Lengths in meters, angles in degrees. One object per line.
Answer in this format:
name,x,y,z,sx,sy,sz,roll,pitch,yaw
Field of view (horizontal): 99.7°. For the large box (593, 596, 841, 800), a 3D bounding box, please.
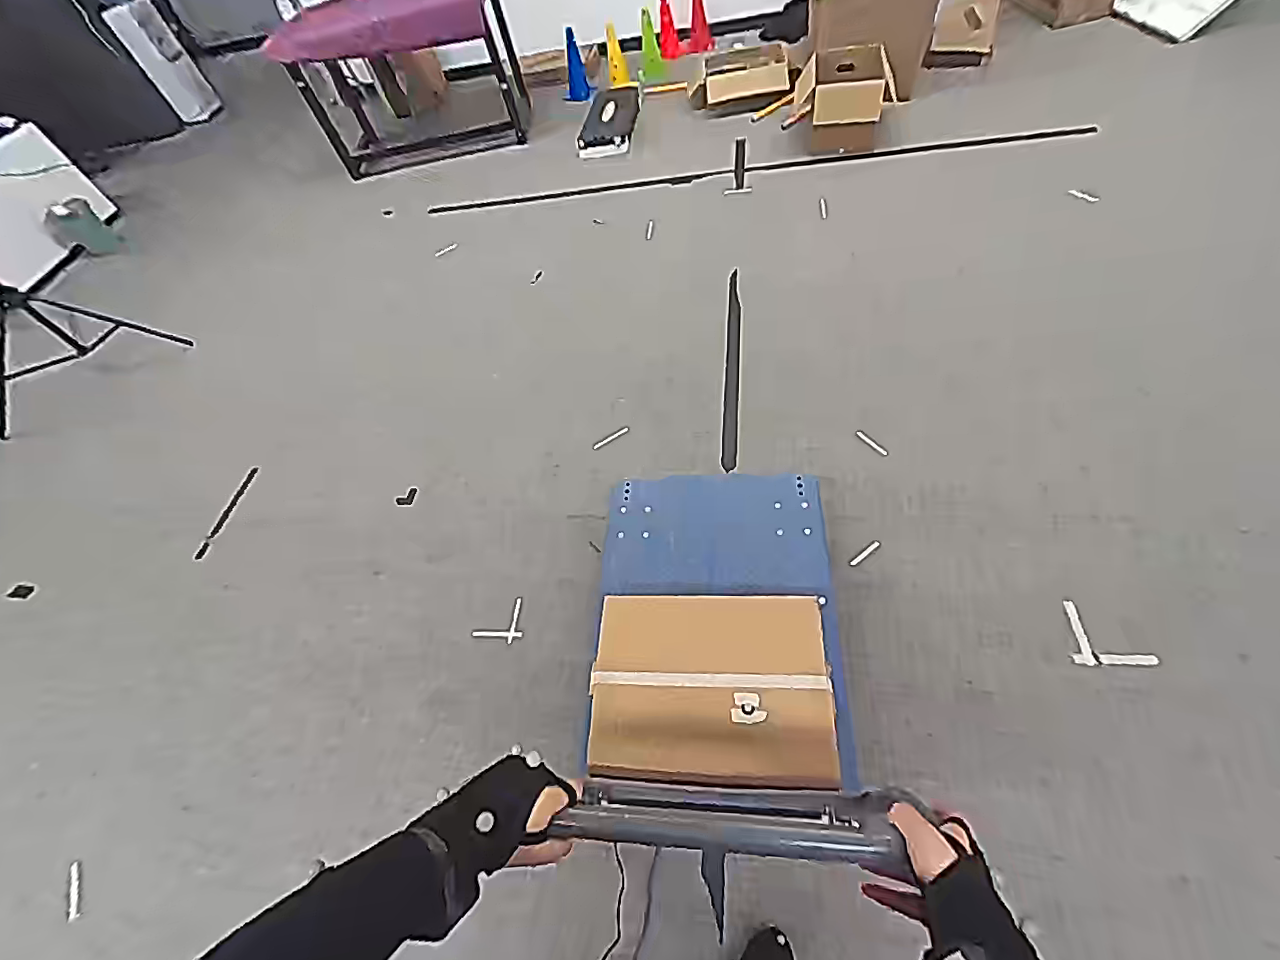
large box,0.144,0.436,1.067,0.408,0.320,0.320,-2,56,9
